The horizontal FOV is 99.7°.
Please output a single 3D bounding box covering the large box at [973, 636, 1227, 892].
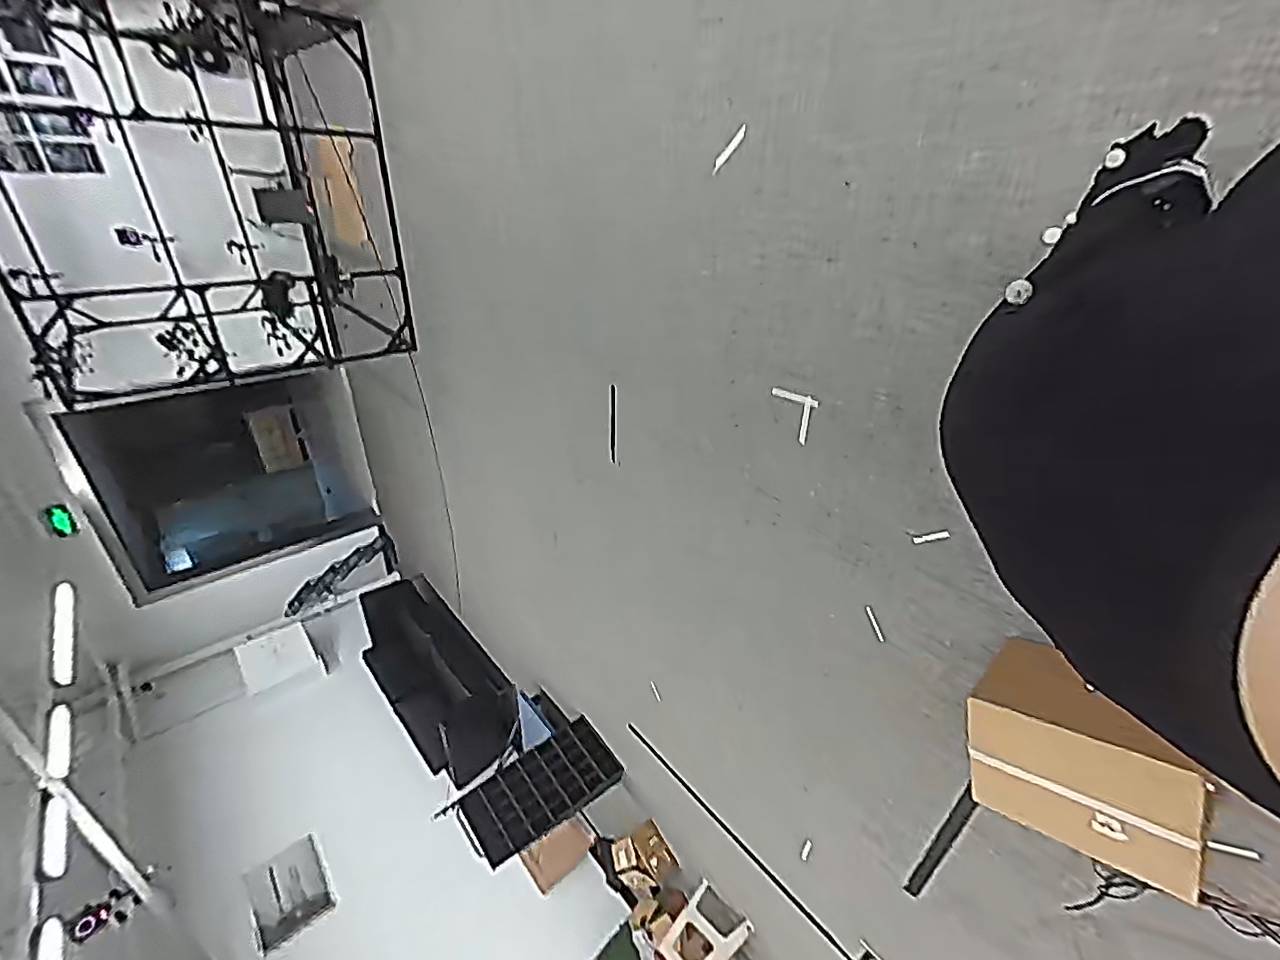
[{"bbox_3d":[1.060,0.612,1.264,0.408,0.320,0.320,5,112,50],"label":"large box"}]
